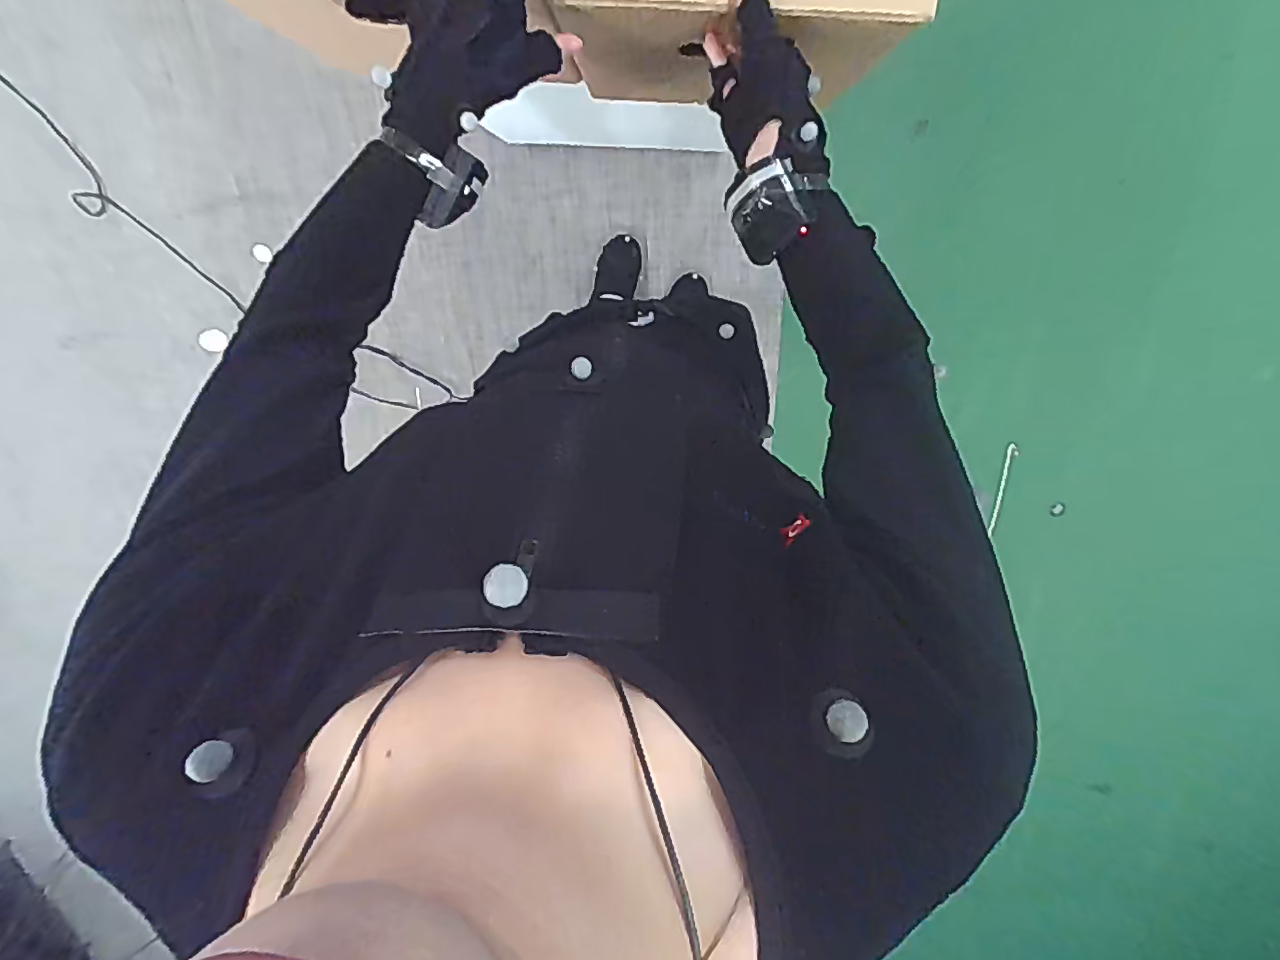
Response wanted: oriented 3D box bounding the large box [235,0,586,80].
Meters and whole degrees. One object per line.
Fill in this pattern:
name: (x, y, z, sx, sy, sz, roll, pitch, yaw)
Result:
large box: (-0.223, -0.653, 0.496, 0.320, 0.320, 0.408, 3, 112, 0)
